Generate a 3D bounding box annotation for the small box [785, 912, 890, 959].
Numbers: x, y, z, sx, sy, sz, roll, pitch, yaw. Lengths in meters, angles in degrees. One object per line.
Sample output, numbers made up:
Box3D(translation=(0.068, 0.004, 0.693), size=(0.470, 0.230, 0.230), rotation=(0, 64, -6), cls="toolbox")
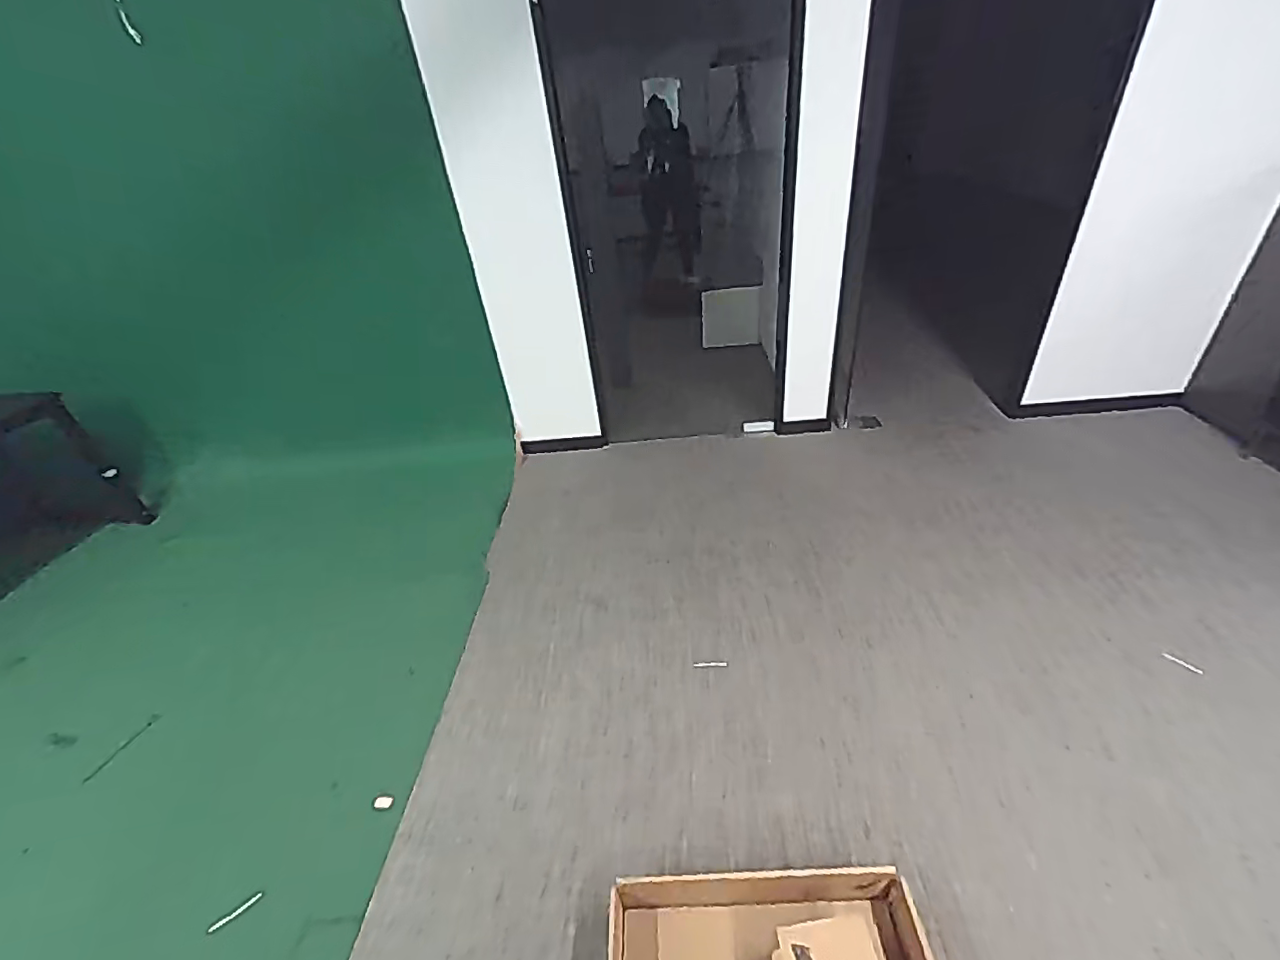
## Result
Box3D(translation=(0.386, 0.967, 1.034), size=(0.179, 0.176, 0.168), rotation=(-9, 36, -1), cls="small box")
